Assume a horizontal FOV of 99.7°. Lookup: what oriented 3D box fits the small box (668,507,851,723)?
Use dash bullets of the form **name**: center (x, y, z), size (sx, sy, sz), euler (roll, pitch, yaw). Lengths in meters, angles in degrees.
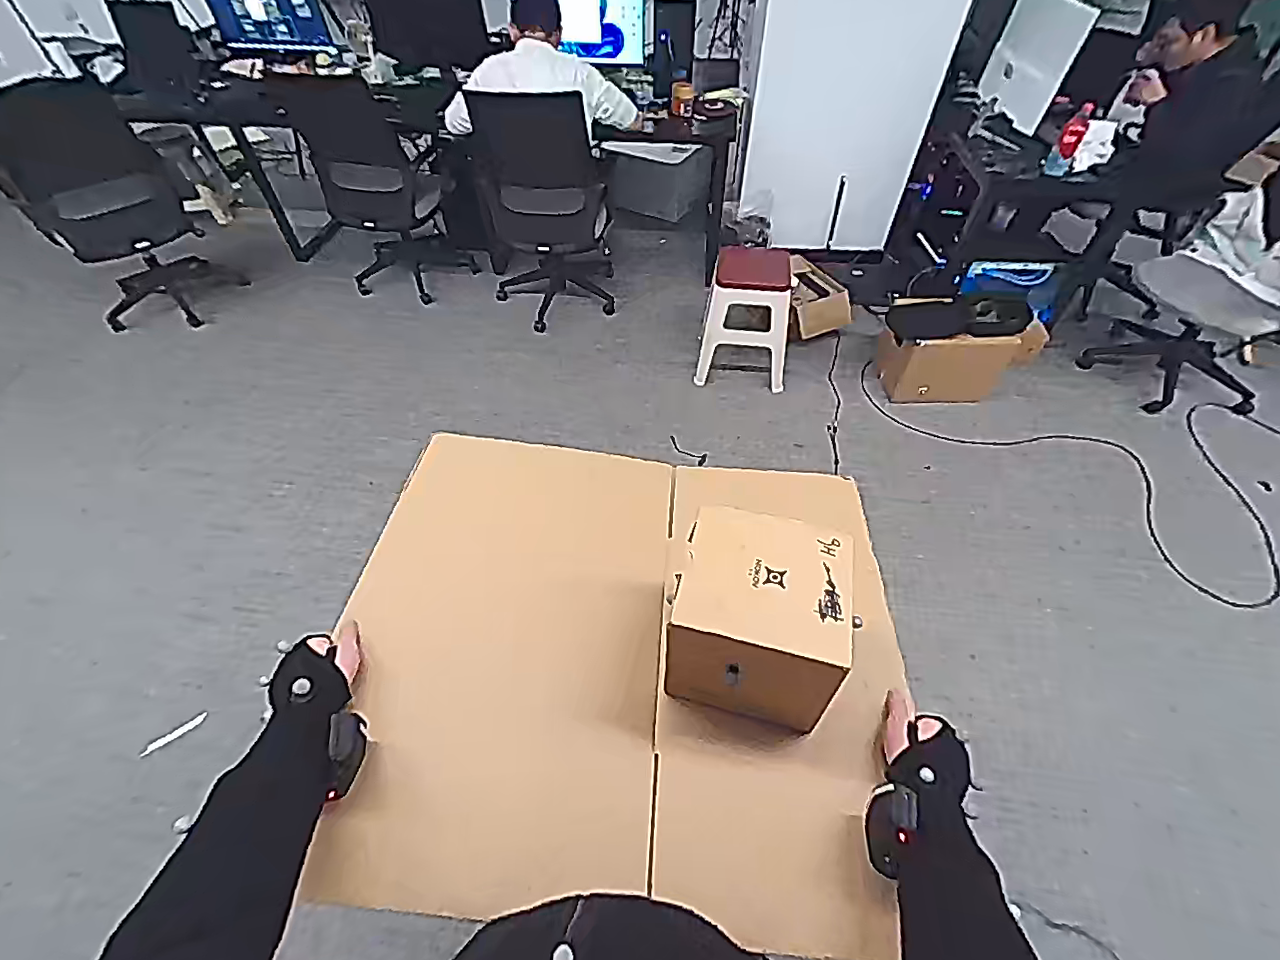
- **small box**: center (0.135, 0.158, 0.631), size (0.179, 0.176, 0.168), euler (10, 48, 12)
